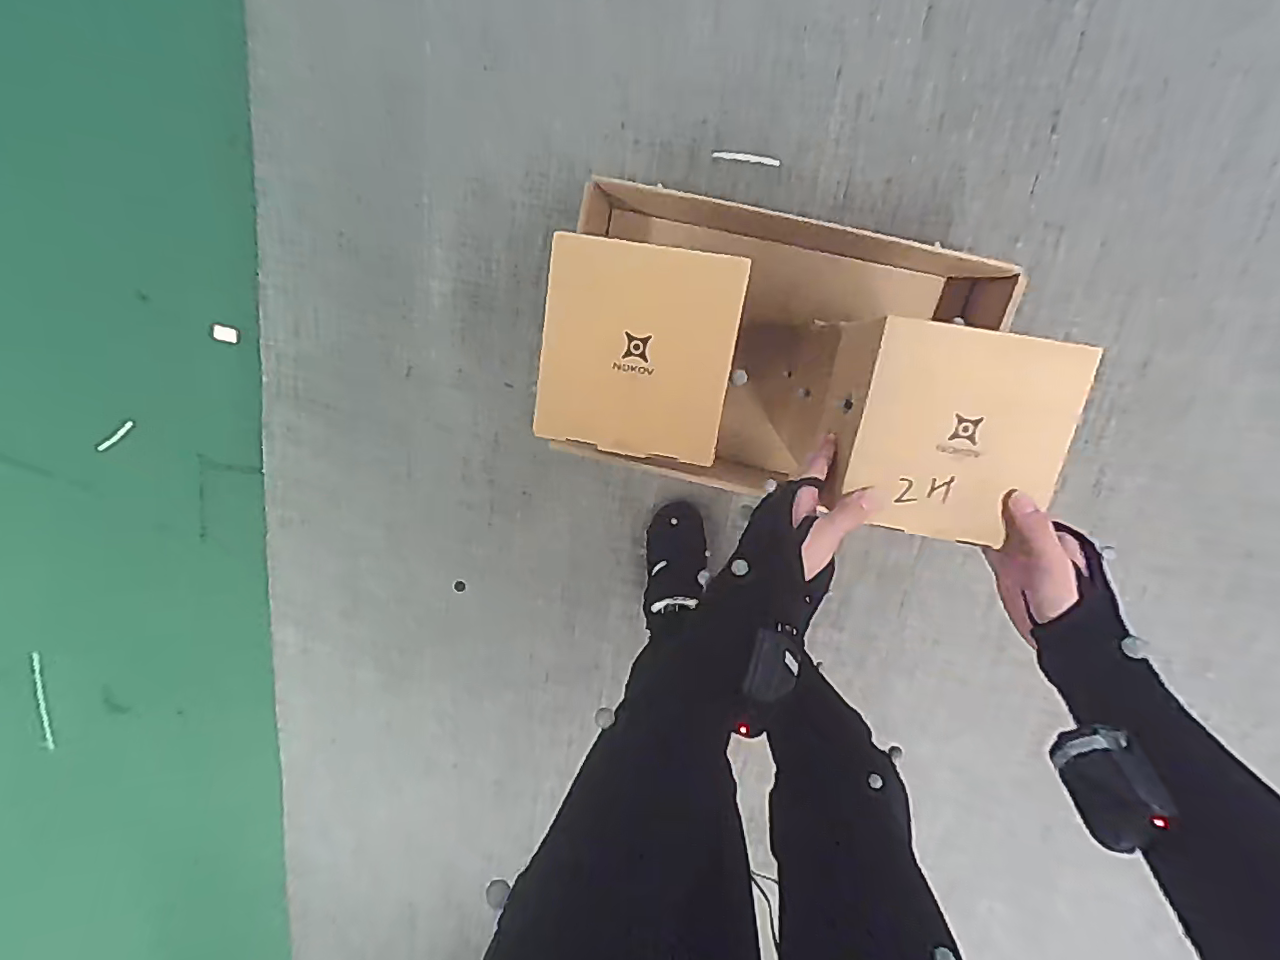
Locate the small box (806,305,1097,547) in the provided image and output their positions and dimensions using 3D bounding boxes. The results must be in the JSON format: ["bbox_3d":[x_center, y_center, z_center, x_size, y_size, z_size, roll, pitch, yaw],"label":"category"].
[{"bbox_3d":[0.267,-0.059,0.517,0.168,0.176,0.179,11,105,6],"label":"small box"}]

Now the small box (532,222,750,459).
[{"bbox_3d":[0.004,-0.135,0.535,0.168,0.176,0.179,10,106,4],"label":"small box"}]
